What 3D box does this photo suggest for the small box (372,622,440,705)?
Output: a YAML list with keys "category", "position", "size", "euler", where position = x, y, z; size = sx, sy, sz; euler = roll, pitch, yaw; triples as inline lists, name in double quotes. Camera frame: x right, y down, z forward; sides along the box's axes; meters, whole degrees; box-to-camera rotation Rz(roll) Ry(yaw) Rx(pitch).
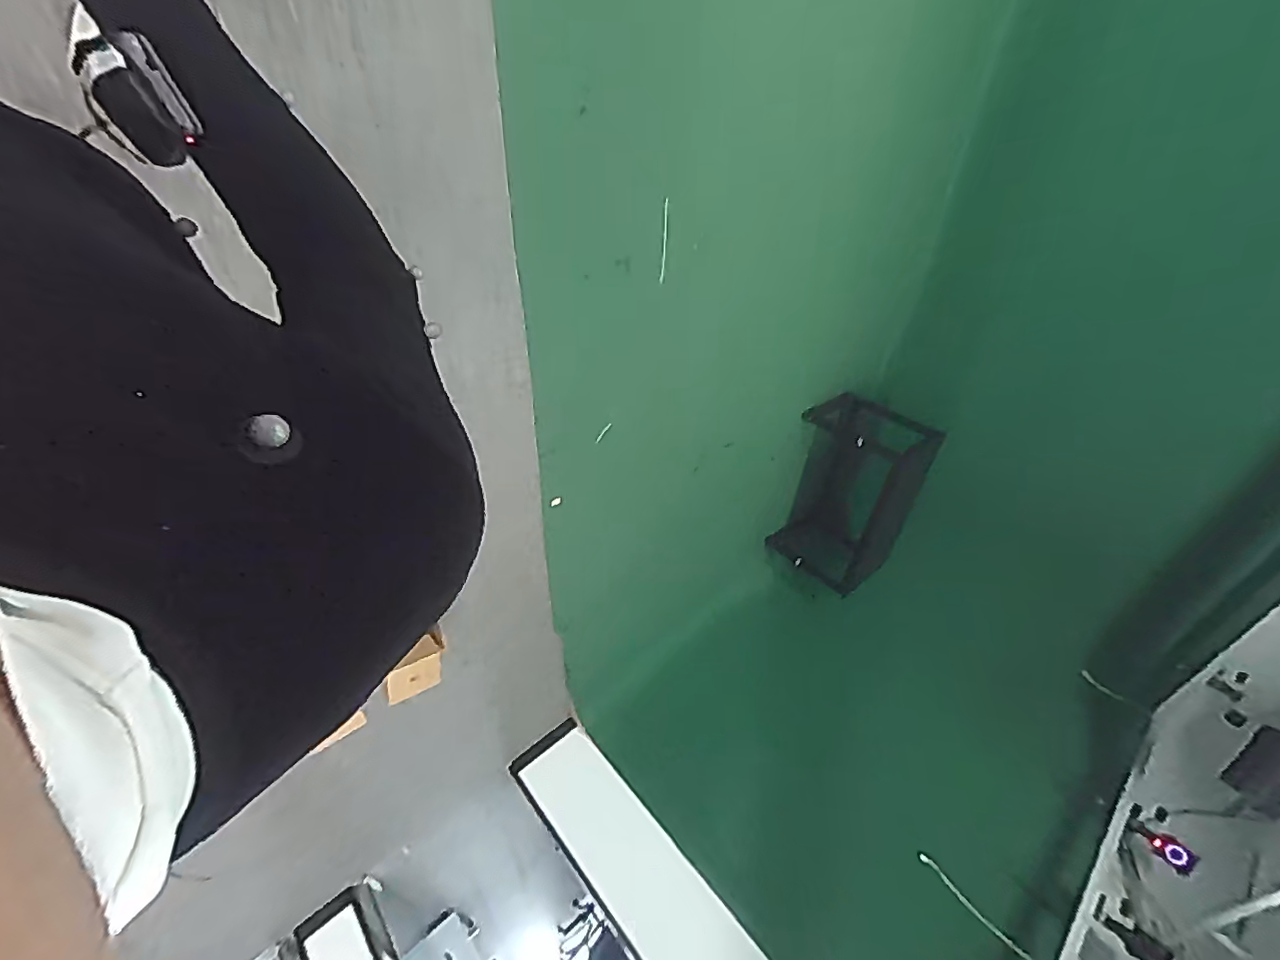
- category: "small box"
  position: [-0.804, 0.623, 1.851]
  size: [0.179, 0.176, 0.168]
  euler: [-16, 131, -40]
